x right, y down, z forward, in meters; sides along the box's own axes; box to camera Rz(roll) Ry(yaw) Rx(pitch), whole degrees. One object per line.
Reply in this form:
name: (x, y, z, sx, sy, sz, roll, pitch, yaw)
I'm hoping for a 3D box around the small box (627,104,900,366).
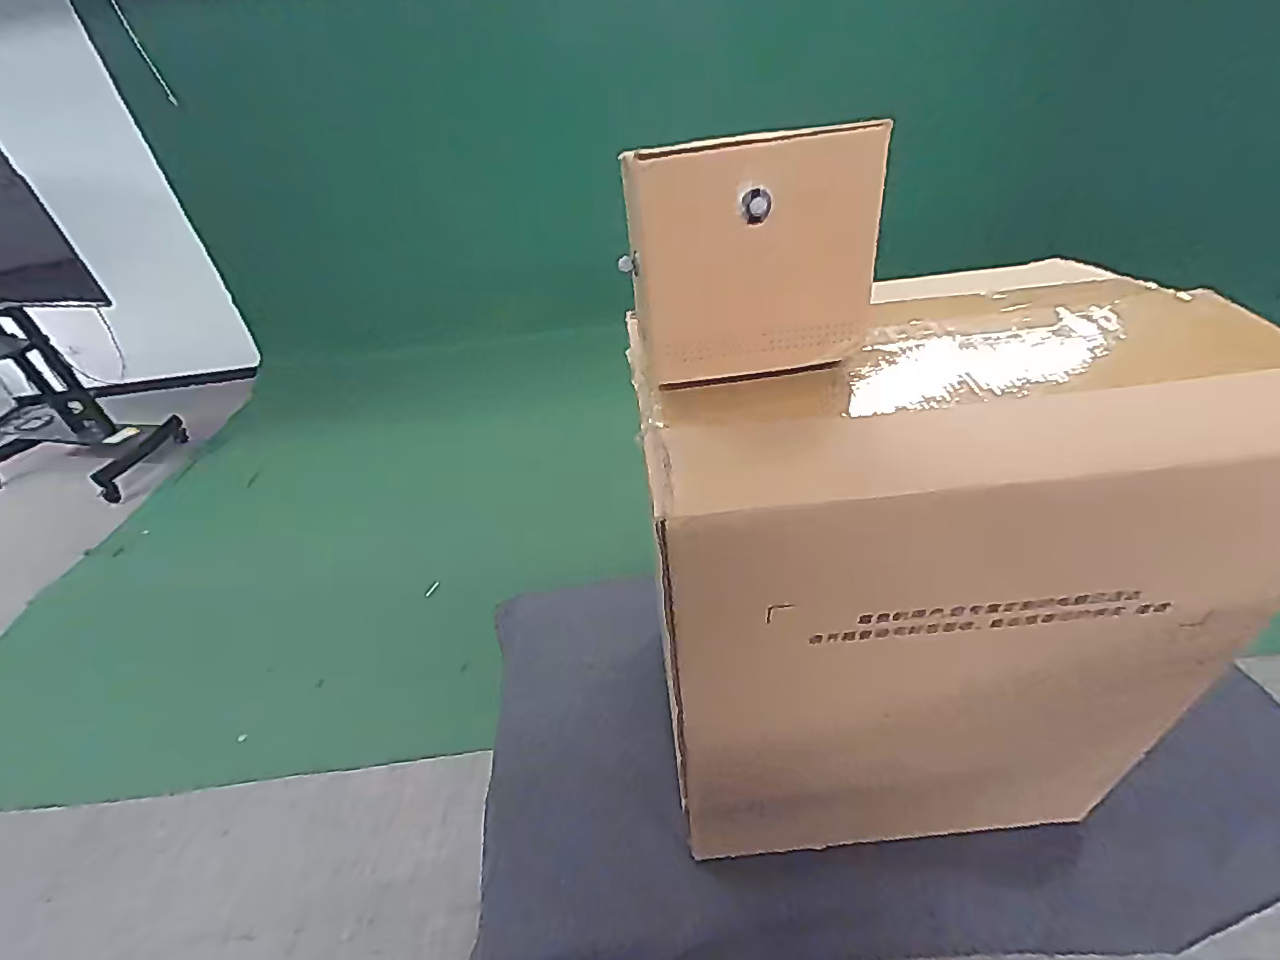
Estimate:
small box: (0.087, -0.203, 0.461, 0.179, 0.176, 0.168, -6, 31, -3)
